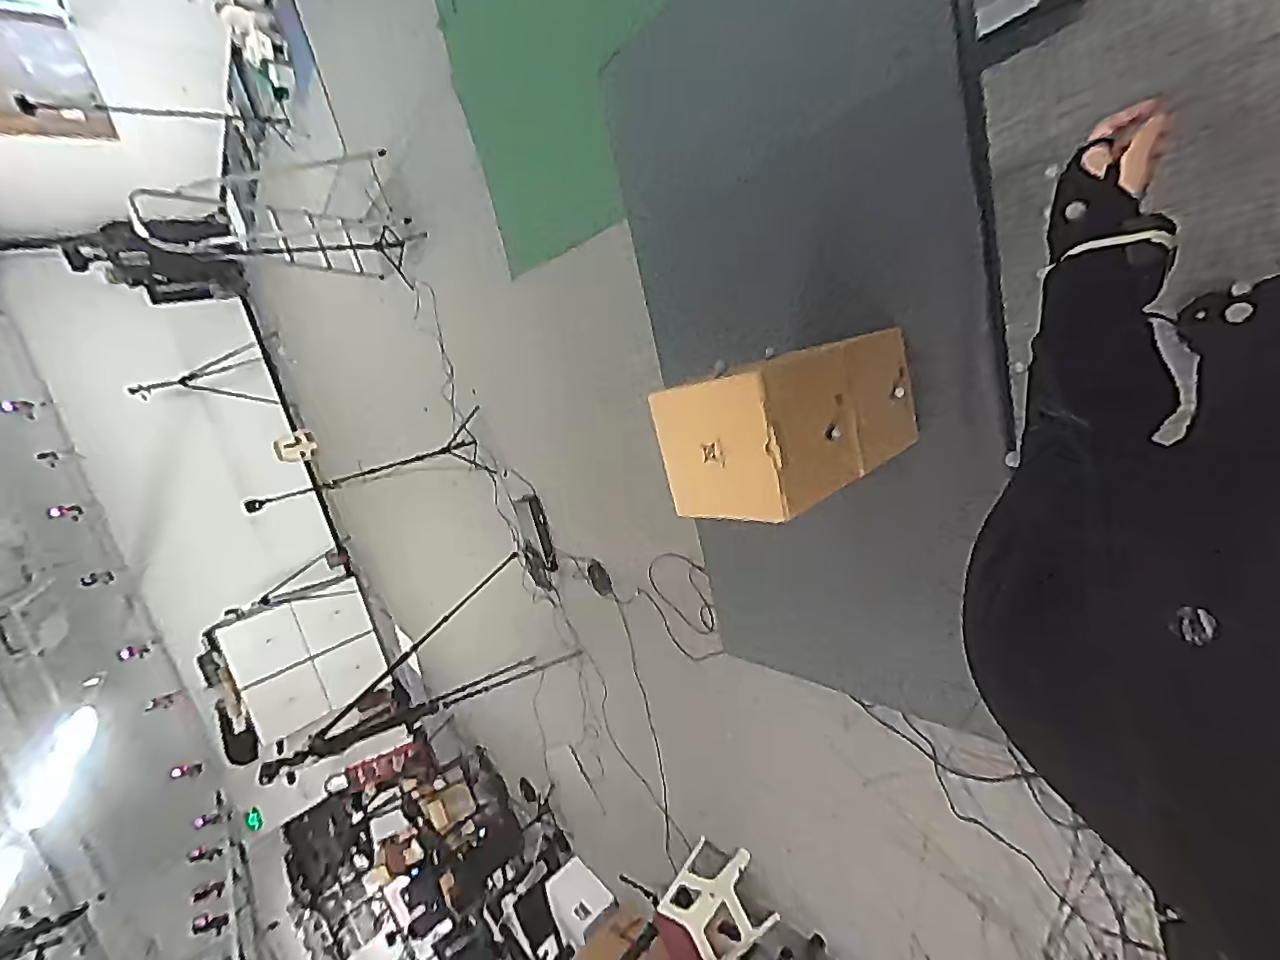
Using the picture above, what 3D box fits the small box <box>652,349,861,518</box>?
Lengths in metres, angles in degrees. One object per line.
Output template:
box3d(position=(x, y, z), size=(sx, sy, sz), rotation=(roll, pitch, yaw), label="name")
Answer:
box3d(position=(0.146, -0.058, 0.678), size=(0.179, 0.176, 0.168), rotation=(-2, 105, 51), label="small box")

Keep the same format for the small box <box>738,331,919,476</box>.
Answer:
box3d(position=(0.267, -0.107, 0.776), size=(0.179, 0.176, 0.168), rotation=(-2, 106, 51), label="small box")
